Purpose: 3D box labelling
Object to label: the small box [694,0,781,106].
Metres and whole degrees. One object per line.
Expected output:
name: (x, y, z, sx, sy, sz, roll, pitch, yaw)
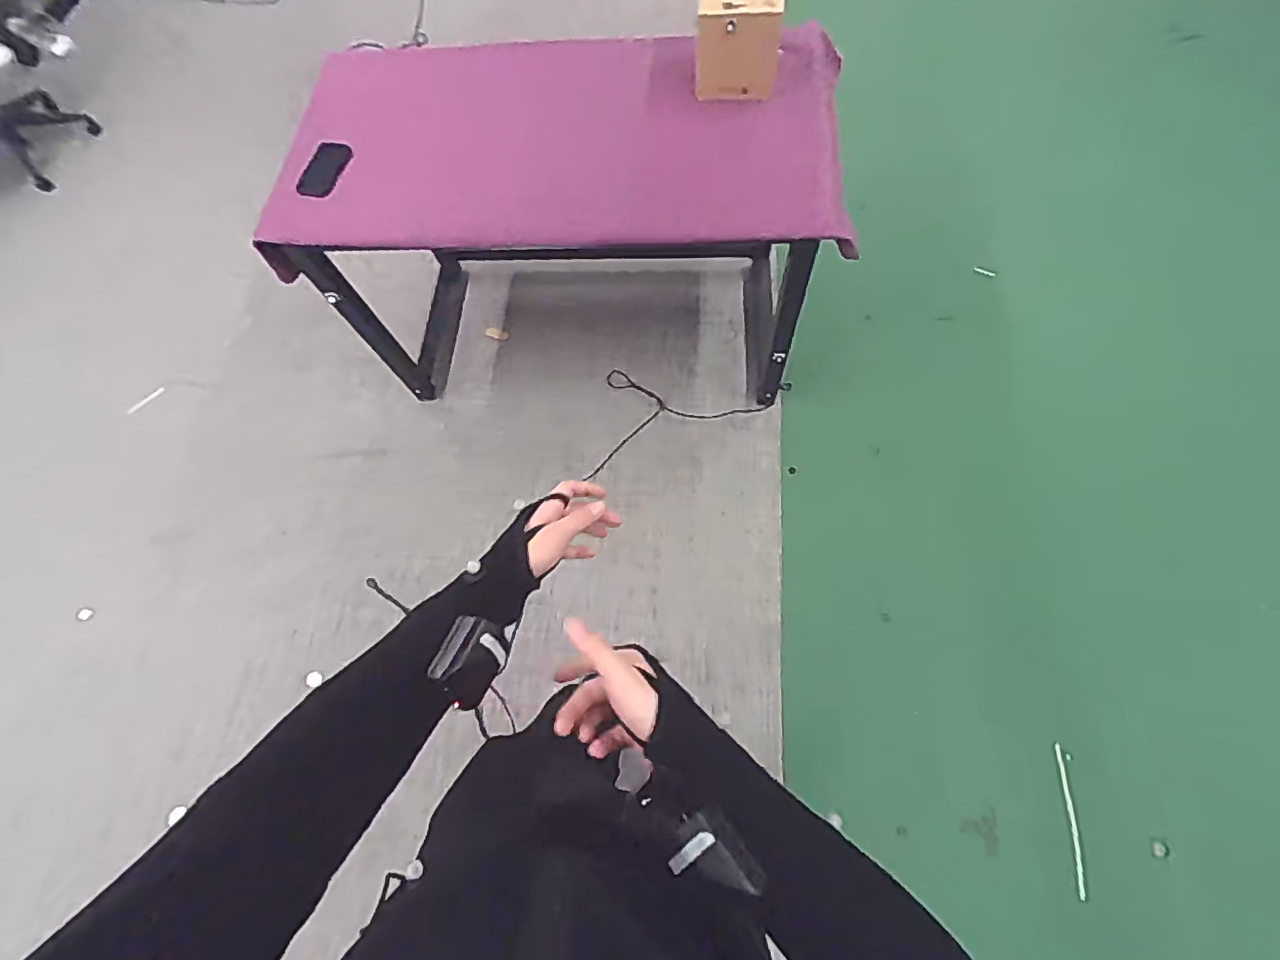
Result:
small box: (0.203, -0.934, 1.146, 0.168, 0.176, 0.179, 4, 68, 7)
